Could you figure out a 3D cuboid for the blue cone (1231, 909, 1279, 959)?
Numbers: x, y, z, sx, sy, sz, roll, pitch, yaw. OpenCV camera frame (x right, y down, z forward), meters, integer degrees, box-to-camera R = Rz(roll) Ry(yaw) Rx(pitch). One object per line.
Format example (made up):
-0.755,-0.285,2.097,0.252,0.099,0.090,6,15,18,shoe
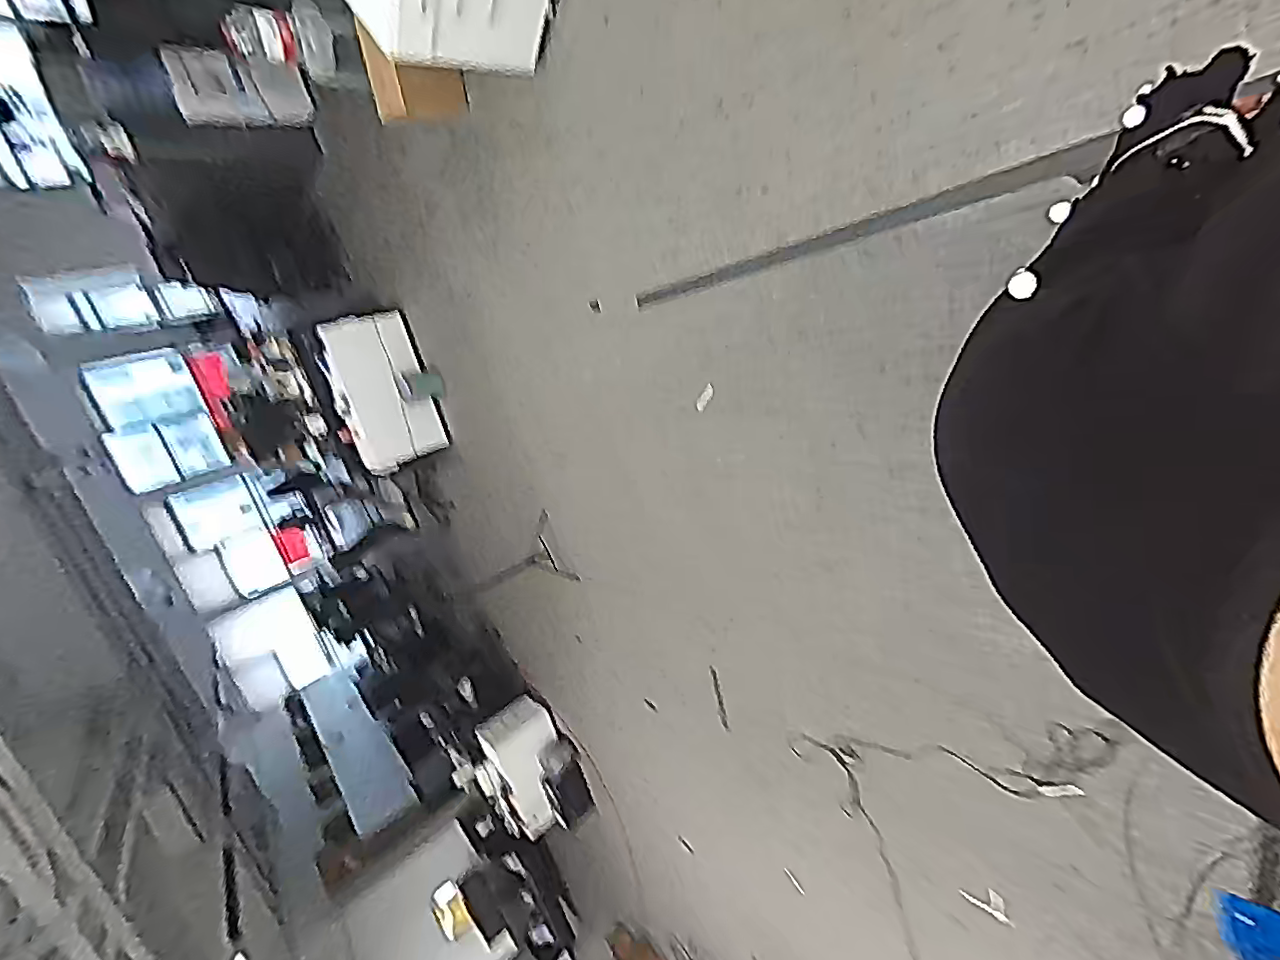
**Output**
1.461,1.211,1.214,0.192,0.380,0.193,-1,111,51,blue cone
